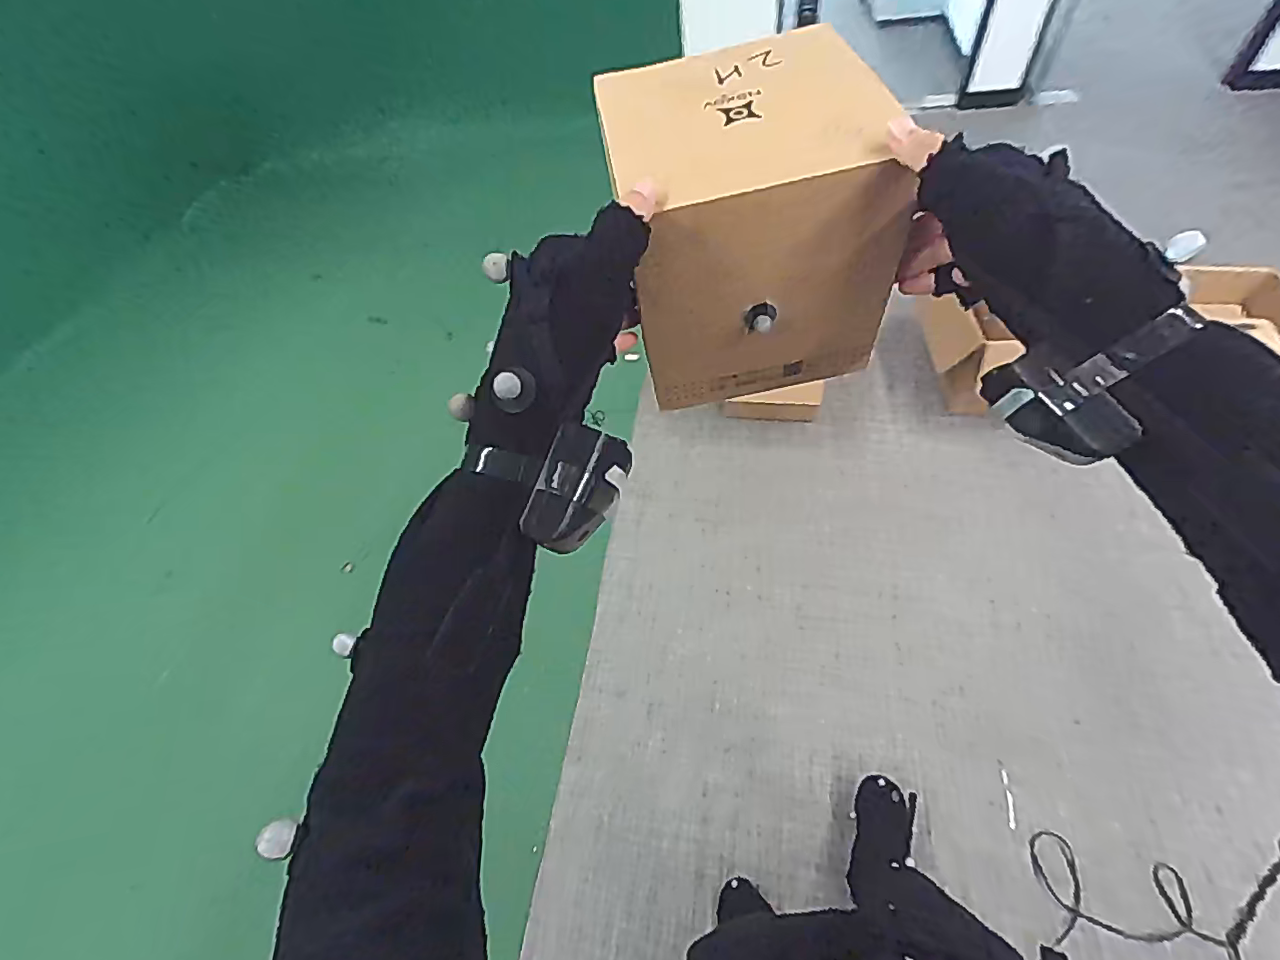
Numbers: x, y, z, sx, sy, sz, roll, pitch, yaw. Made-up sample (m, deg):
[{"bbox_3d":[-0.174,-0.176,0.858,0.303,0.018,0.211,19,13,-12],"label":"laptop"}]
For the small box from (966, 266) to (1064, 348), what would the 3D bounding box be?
[{"bbox_3d":[1.111,-0.510,1.617,0.168,0.176,0.179,-1,57,8],"label":"small box"}]

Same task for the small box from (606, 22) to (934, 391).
[{"bbox_3d":[0.078,-0.184,0.397,0.168,0.176,0.179,-11,57,3],"label":"small box"}]

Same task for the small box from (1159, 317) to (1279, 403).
[{"bbox_3d":[1.685,-0.351,1.580,0.168,0.176,0.179,5,56,12],"label":"small box"}]
